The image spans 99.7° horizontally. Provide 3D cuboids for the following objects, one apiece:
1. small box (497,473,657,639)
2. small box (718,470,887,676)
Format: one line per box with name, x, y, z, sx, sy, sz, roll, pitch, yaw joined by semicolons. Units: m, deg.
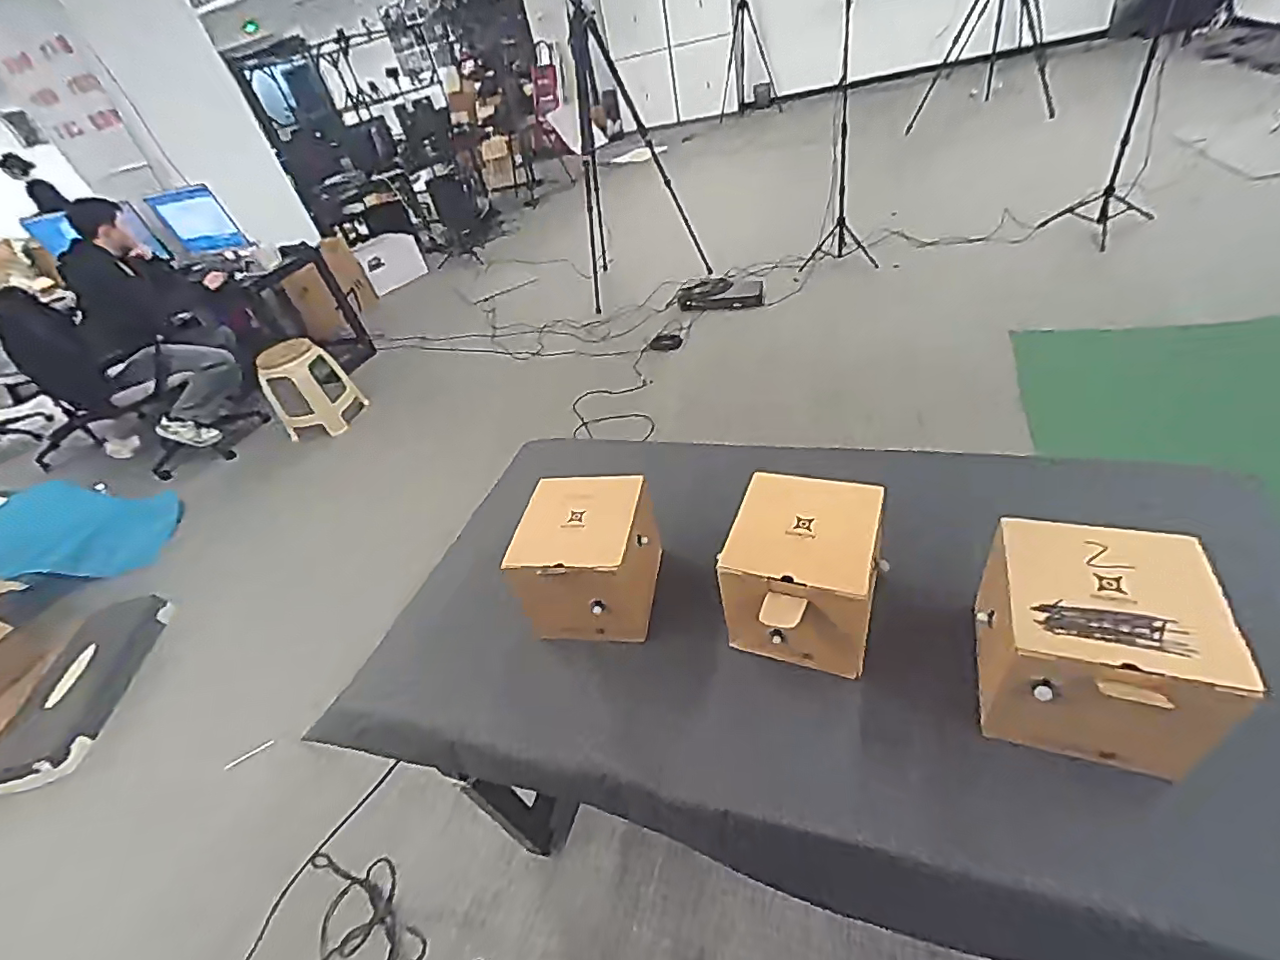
small box;-0.077;0.110;0.781;0.168;0.176;0.179;-1;40;14
small box;0.208;0.113;0.689;0.168;0.176;0.179;8;45;25
